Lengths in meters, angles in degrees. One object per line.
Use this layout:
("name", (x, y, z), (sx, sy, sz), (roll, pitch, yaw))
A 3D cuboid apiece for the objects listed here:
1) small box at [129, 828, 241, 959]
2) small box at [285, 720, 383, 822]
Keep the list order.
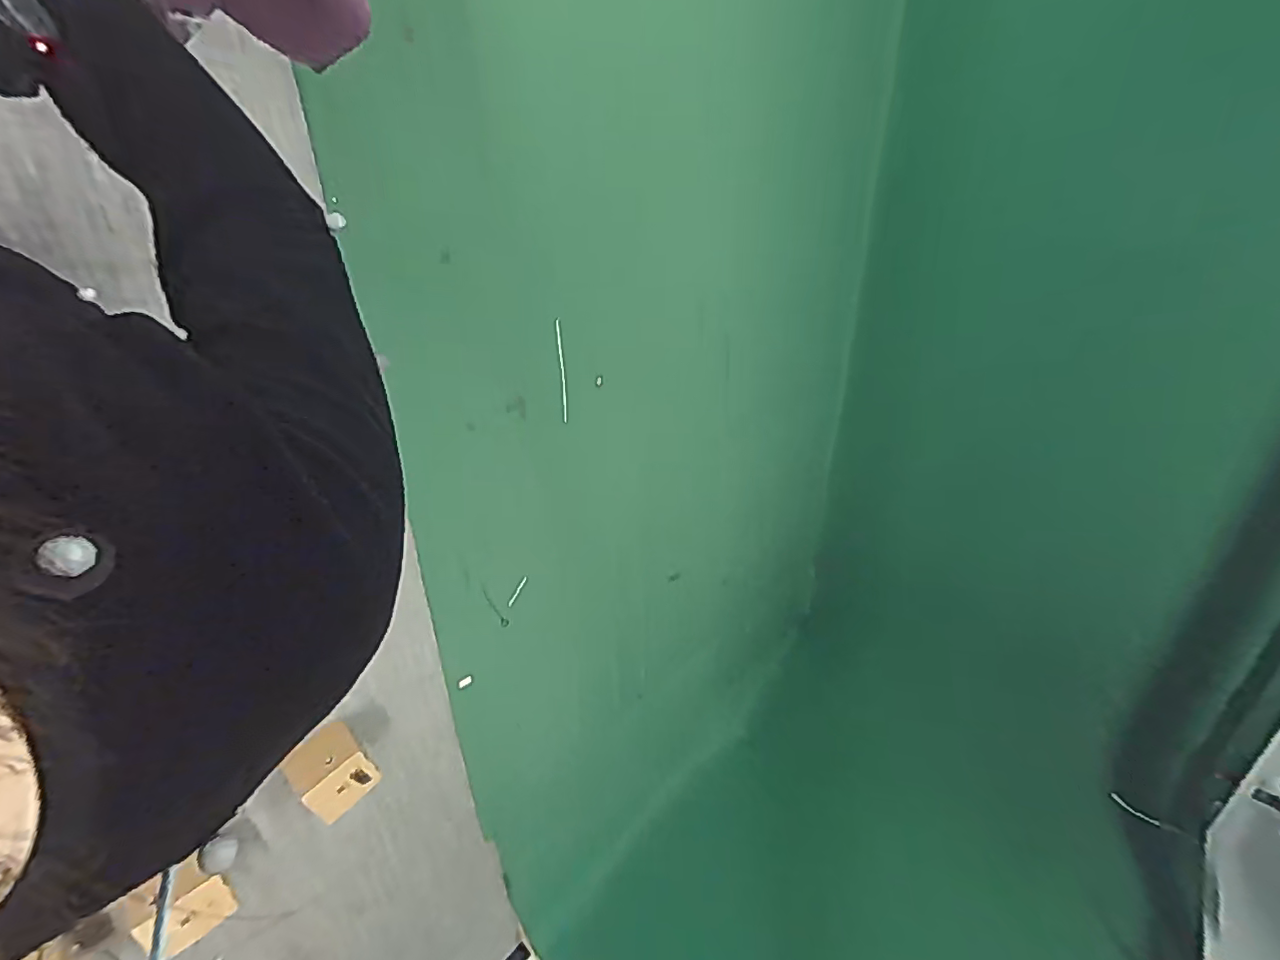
("small box", (-1.182, 1.064, 1.401), (0.179, 0.176, 0.168), (-26, 126, -41))
("small box", (-0.917, 0.862, 1.620), (0.179, 0.176, 0.168), (-37, 132, -32))
